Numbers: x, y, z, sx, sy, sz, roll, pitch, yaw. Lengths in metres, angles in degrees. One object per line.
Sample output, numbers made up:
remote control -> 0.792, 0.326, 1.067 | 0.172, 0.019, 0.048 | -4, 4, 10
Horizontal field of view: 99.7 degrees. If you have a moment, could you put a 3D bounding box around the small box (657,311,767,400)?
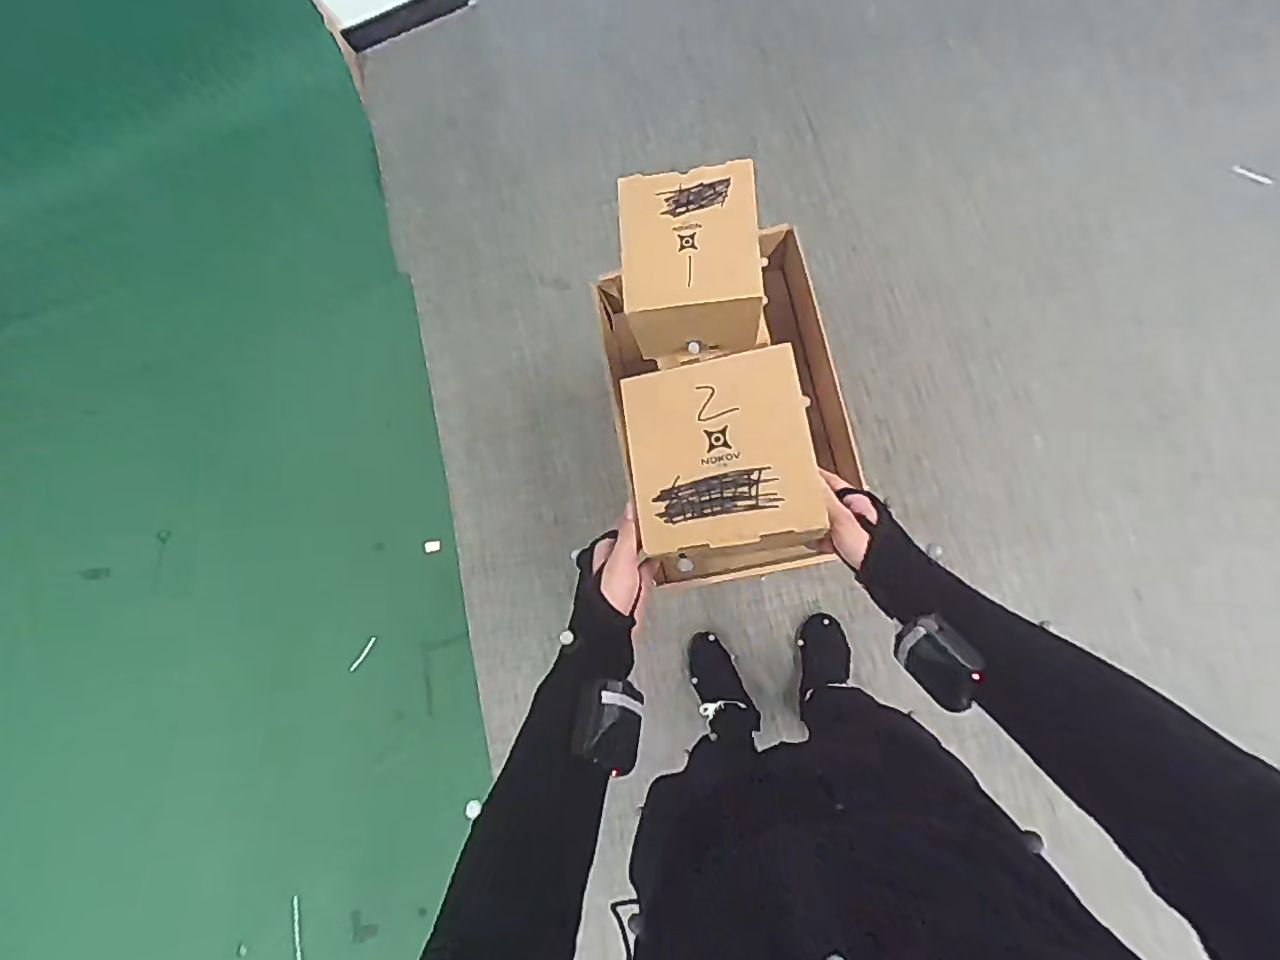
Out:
small box -> 0.101, -0.251, 0.883 | 0.168, 0.176, 0.179 | -14, 81, 7

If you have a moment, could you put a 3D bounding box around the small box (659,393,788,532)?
small box -> 0.129, -0.016, 0.834 | 0.168, 0.176, 0.179 | -7, 78, 9

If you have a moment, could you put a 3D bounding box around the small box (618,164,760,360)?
small box -> 0.068, -0.278, 0.725 | 0.168, 0.176, 0.179 | -4, 82, 10
